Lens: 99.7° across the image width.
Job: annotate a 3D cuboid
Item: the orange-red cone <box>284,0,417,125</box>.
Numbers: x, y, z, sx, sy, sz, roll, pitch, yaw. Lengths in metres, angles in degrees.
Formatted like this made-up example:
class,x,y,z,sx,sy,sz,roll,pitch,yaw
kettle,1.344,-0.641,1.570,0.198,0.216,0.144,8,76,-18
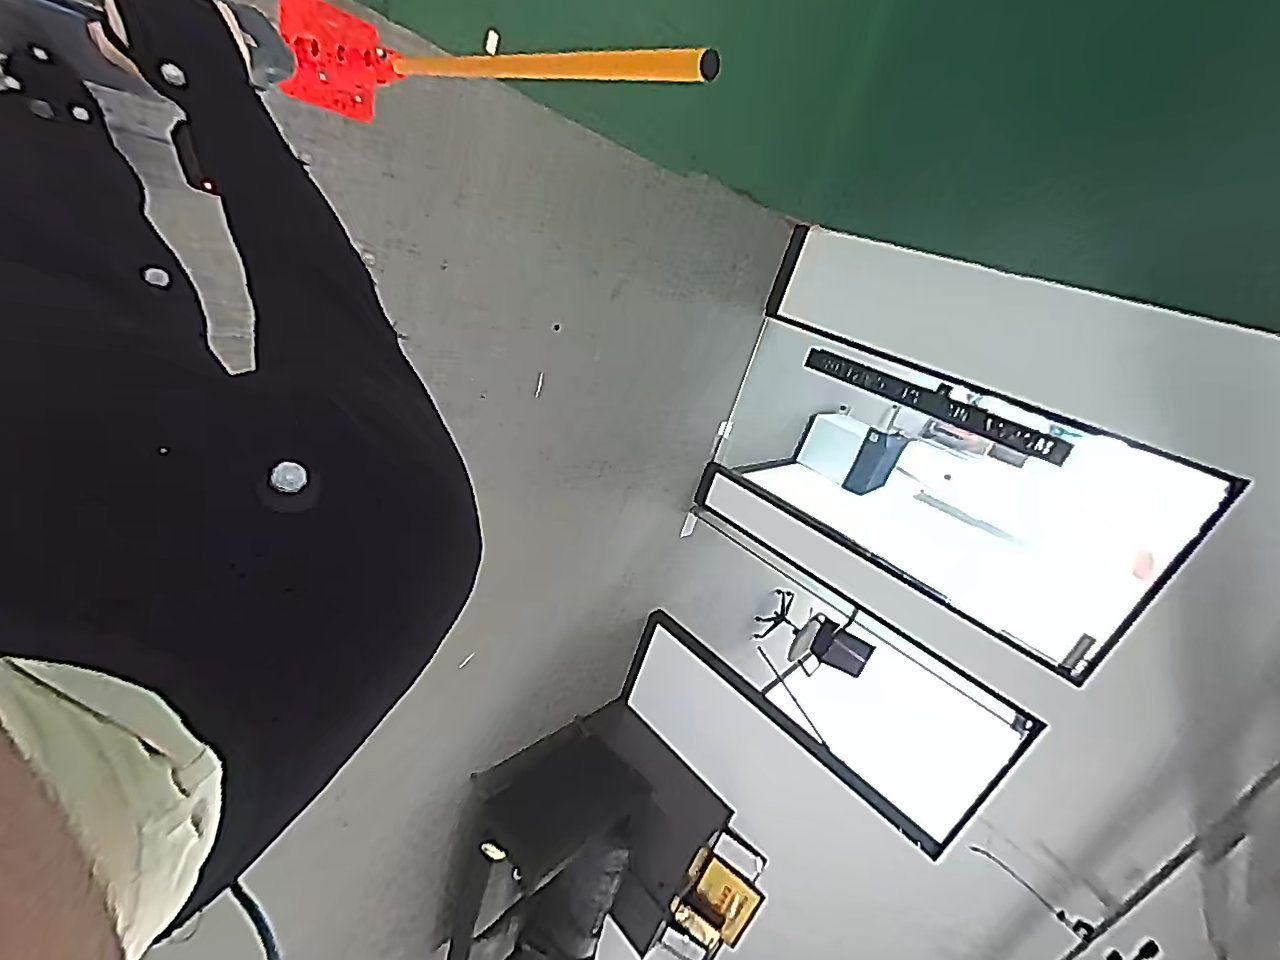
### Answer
class,x,y,z,sx,sy,sz,roll,pitch,yaw
orange-red cone,-0.564,-0.858,1.117,0.198,0.360,0.199,-9,123,-49
